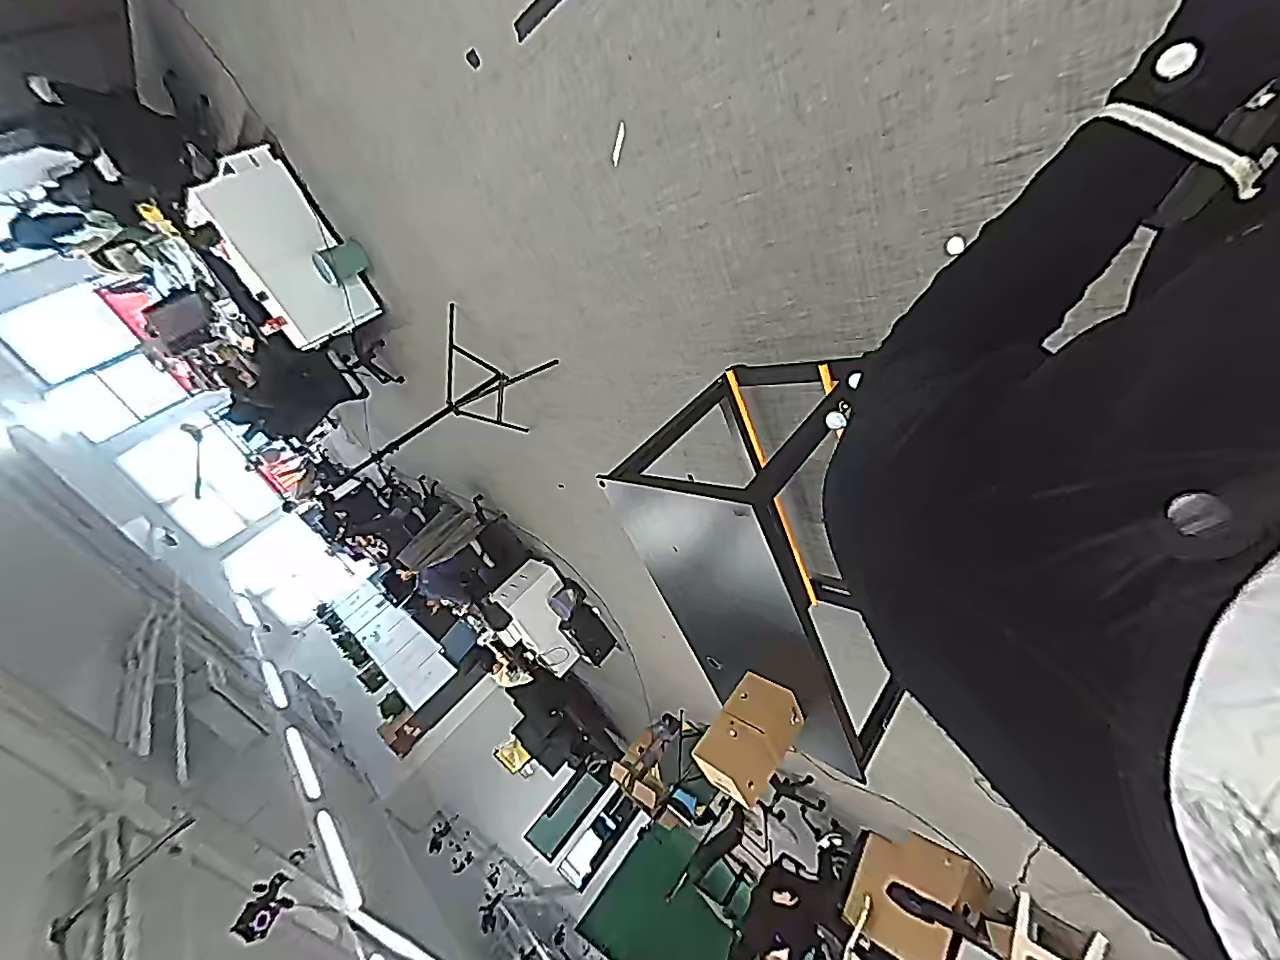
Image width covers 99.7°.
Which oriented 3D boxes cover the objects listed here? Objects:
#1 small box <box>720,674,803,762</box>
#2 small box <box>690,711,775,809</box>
[{"bbox_3d":[0.398,0.763,1.757,0.179,0.176,0.168,9,135,48],"label":"small box"},{"bbox_3d":[0.293,0.862,1.679,0.168,0.176,0.179,9,134,49],"label":"small box"}]
